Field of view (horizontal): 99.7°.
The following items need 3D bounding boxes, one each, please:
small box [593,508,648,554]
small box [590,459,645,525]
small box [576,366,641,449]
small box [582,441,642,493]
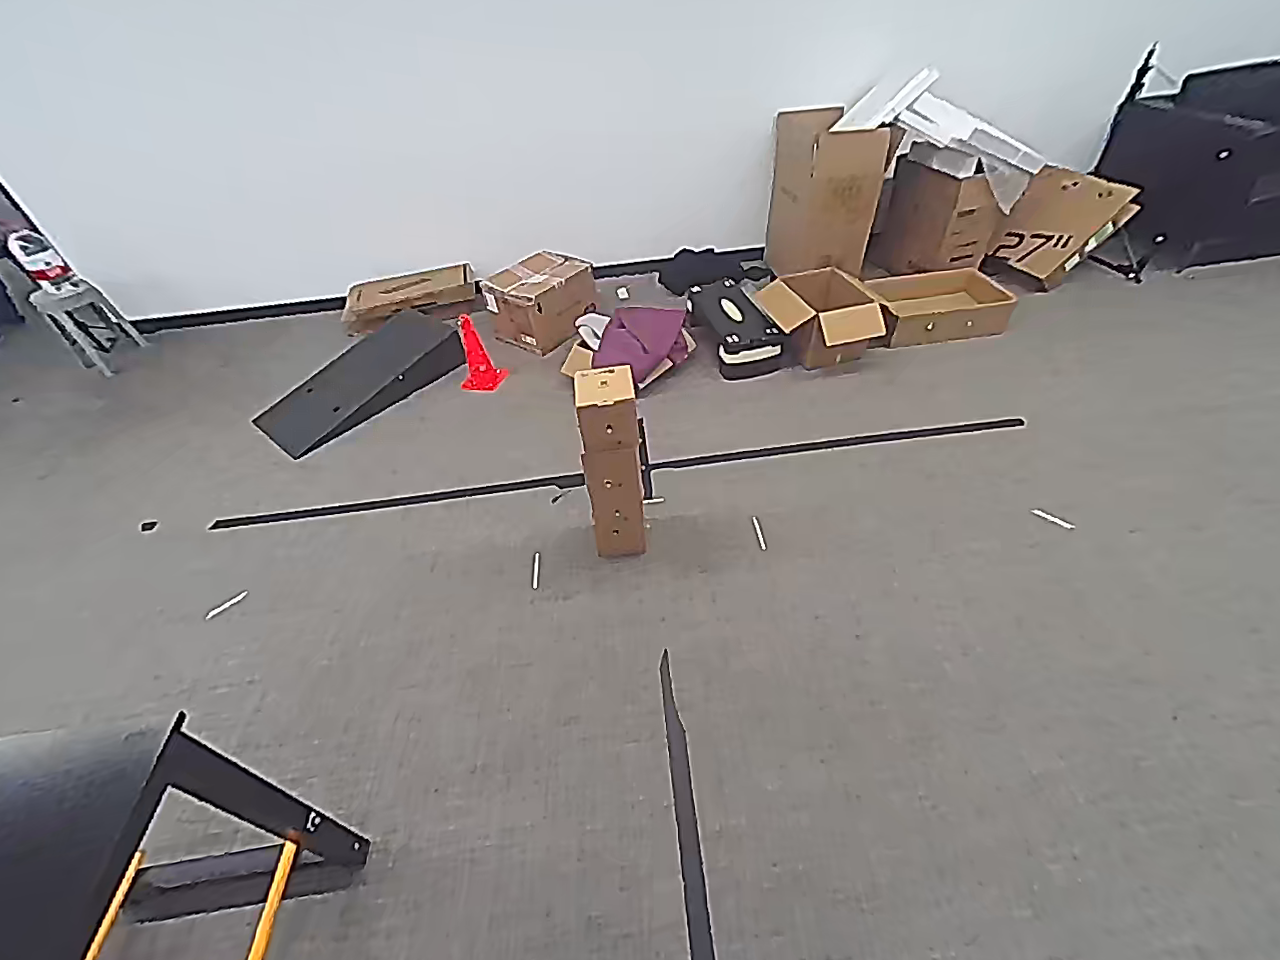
[{"bbox_3d":[-0.066,0.150,1.912,0.179,0.176,0.168,-4,44,1],"label":"small box"},{"bbox_3d":[-0.072,0.027,1.801,0.168,0.176,0.179,-5,44,2],"label":"small box"},{"bbox_3d":[-0.090,-0.204,1.571,0.168,0.176,0.179,-7,44,-1],"label":"small box"},{"bbox_3d":[-0.082,-0.079,1.678,0.168,0.176,0.179,-5,45,2],"label":"small box"}]
